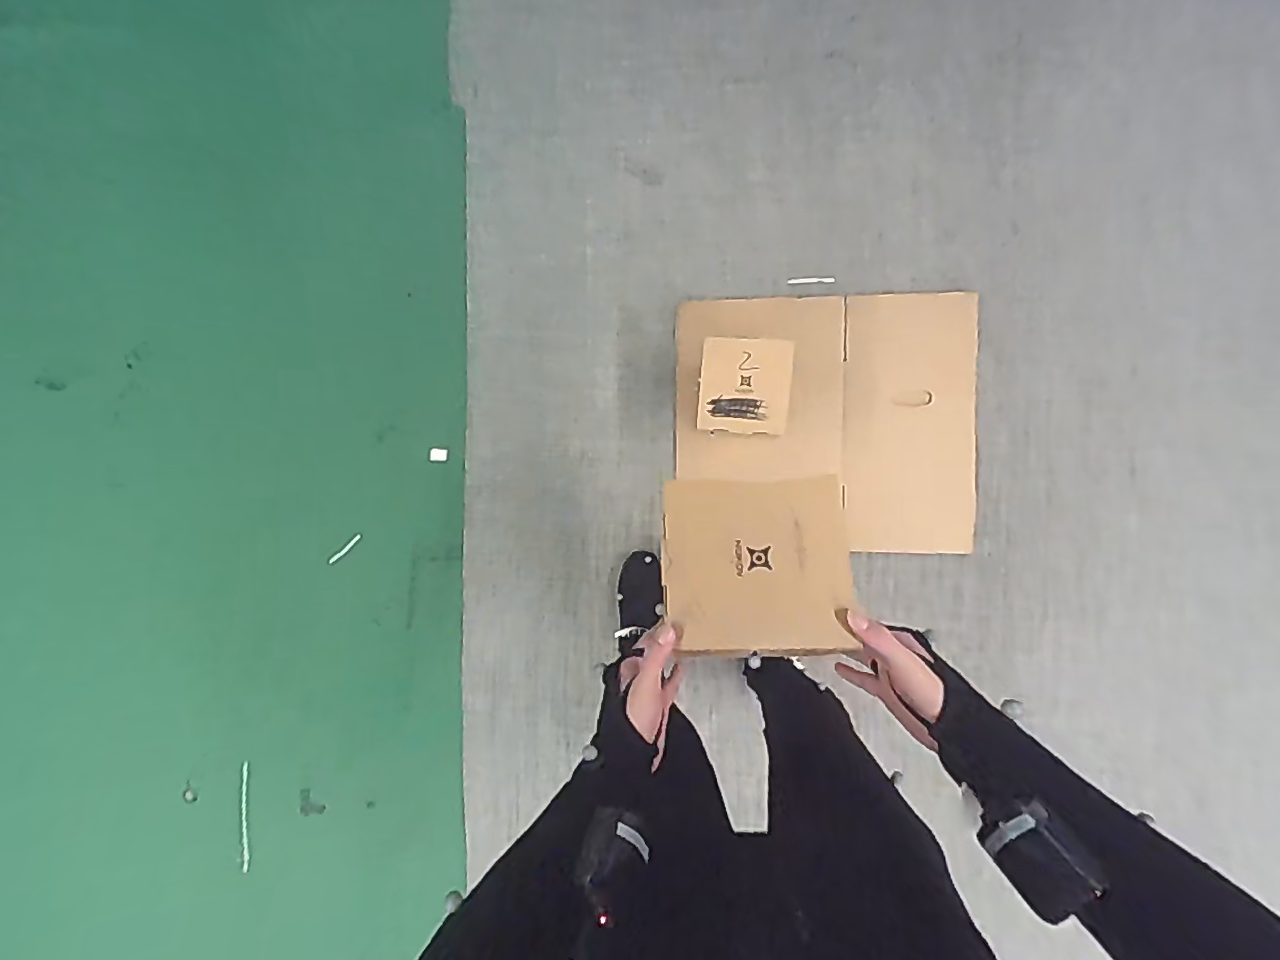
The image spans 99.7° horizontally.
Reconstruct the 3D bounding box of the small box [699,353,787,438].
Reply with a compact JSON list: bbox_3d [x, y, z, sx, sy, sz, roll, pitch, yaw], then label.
[{"bbox_3d":[0.231,-0.187,1.238,0.179,0.176,0.168,5,92,7],"label":"small box"}]

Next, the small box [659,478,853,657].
[{"bbox_3d":[0.116,0.104,0.592,0.179,0.176,0.168,-2,70,6],"label":"small box"}]
